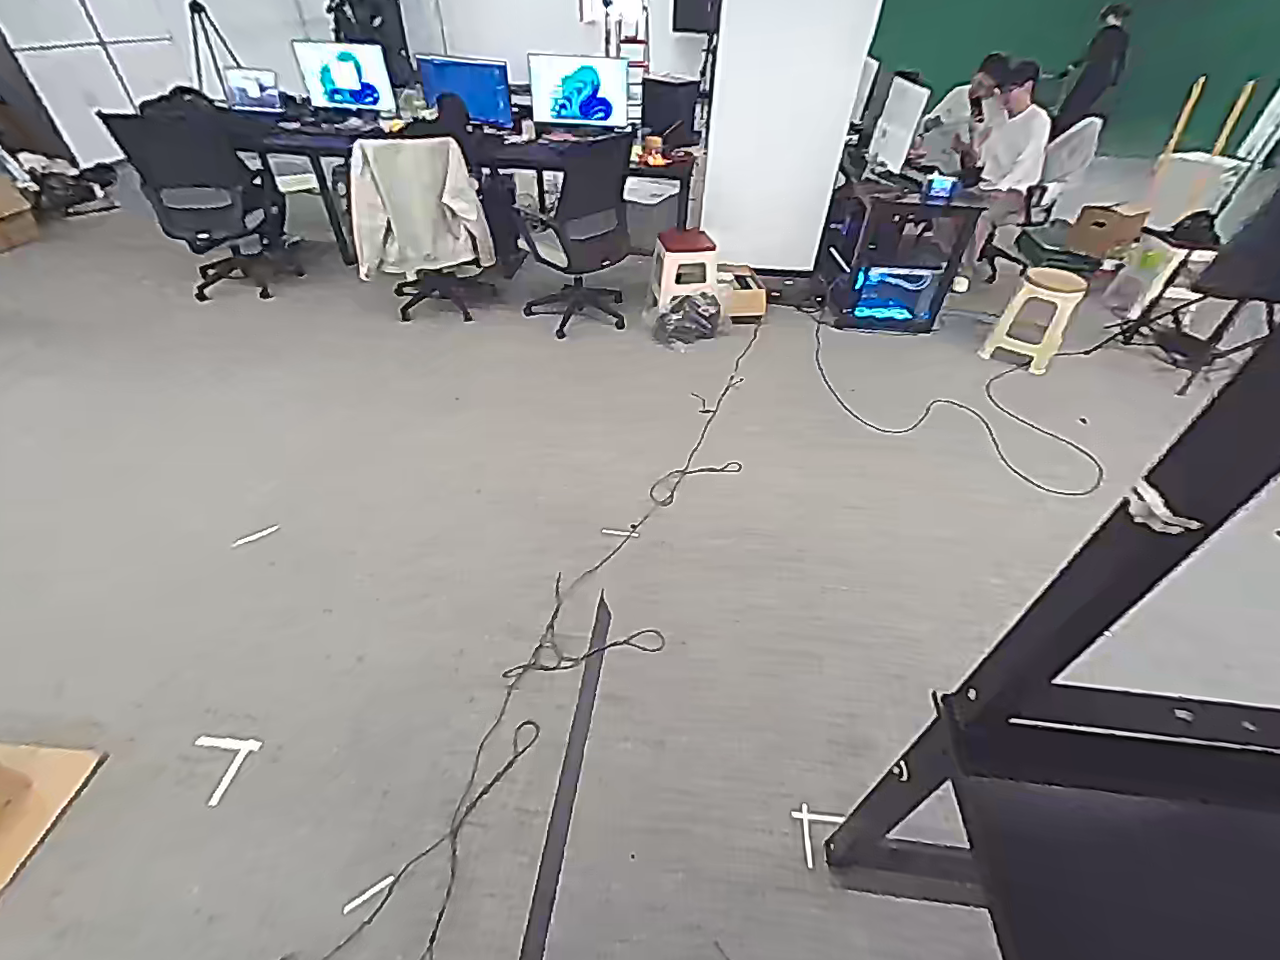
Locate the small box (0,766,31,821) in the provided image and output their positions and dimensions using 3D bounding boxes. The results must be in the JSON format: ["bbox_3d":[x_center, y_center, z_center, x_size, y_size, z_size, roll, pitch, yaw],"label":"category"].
[{"bbox_3d":[-1.585,0.740,1.229,0.179,0.176,0.168,2,42,0],"label":"small box"}]
